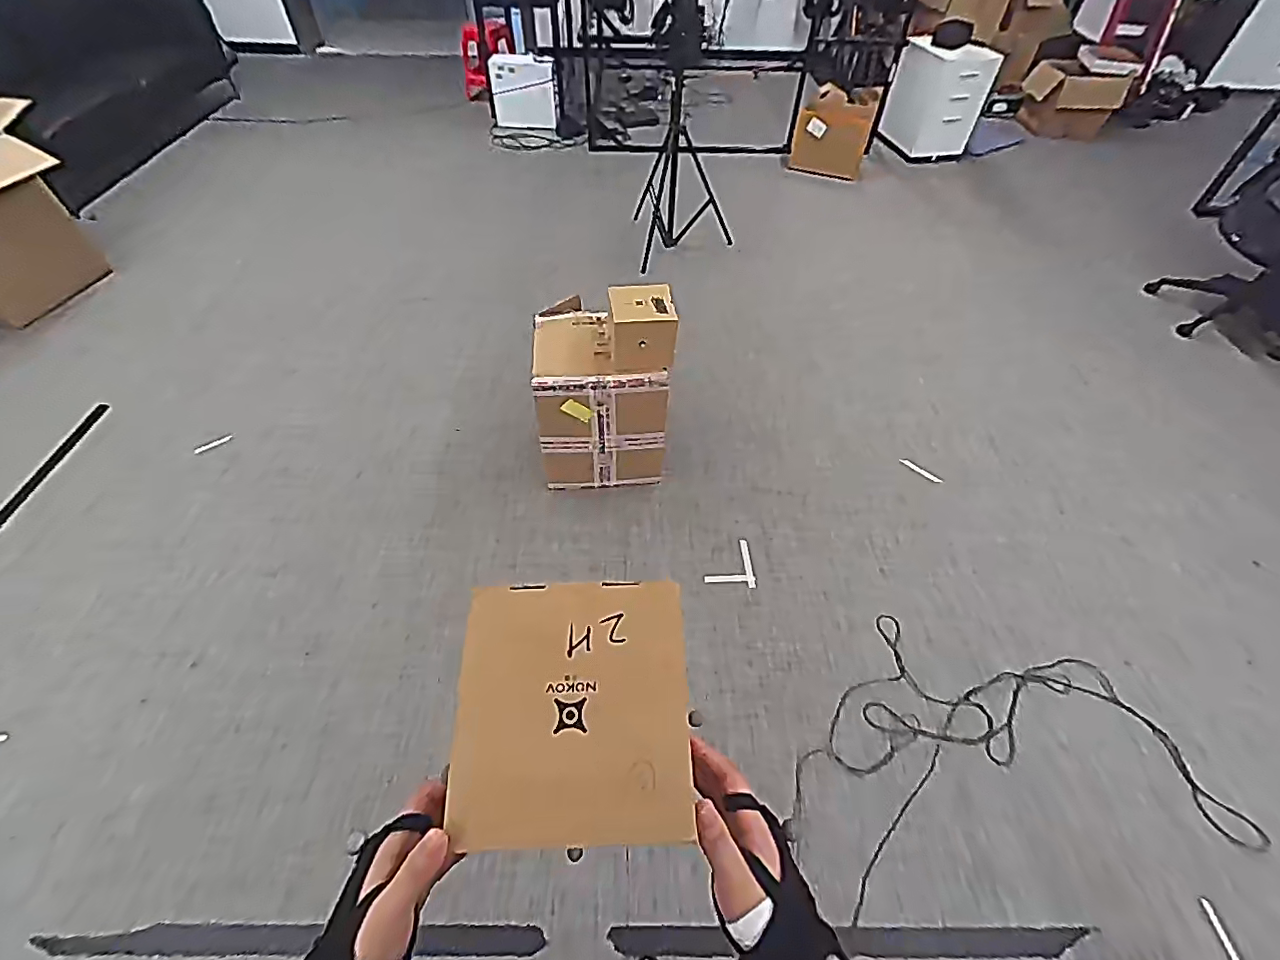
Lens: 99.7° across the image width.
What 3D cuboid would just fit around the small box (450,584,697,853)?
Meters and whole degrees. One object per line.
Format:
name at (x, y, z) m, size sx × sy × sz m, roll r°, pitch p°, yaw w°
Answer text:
small box at (-0.044, 0.200, 0.459) m, size 0.168 × 0.176 × 0.179 m, roll -2°, pitch 60°, yaw -1°

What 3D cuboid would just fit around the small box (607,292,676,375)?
small box at (-0.002, -0.418, 1.551) m, size 0.179 × 0.176 × 0.168 m, roll -5°, pitch 53°, yaw -6°
